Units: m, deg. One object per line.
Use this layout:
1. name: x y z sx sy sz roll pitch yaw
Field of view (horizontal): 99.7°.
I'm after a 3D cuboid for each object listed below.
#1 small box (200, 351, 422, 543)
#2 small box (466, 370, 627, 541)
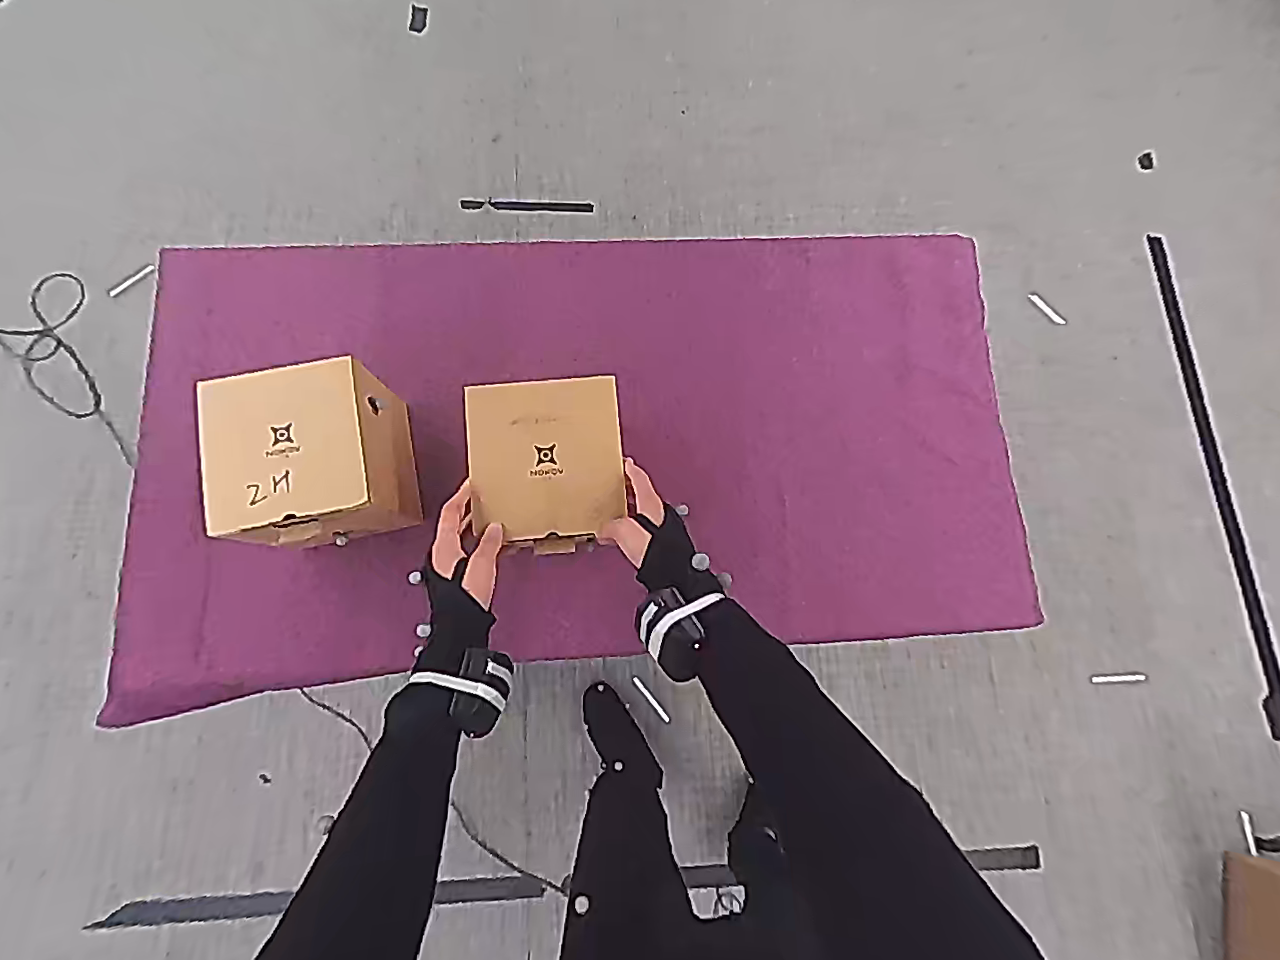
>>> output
1. small box: -0.380 -0.029 0.650 0.168 0.176 0.179 -12 80 -5
2. small box: -0.104 -0.020 0.652 0.168 0.176 0.179 -4 83 -4
